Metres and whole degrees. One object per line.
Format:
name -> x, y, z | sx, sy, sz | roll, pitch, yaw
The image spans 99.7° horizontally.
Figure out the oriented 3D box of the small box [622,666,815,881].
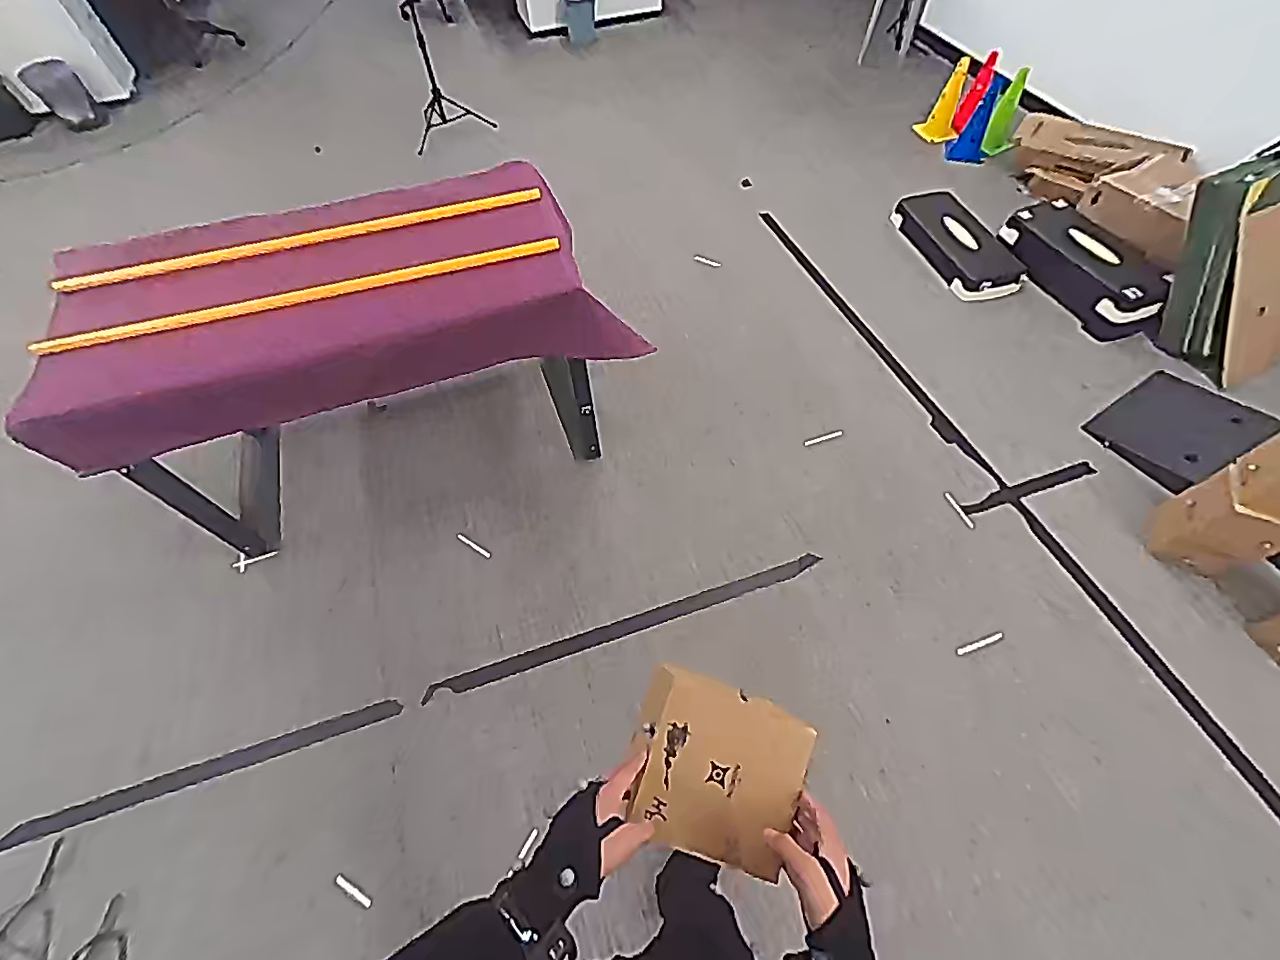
small box -> 0.087, 0.349, 0.682 | 0.179, 0.176, 0.168 | 21, 78, 0
